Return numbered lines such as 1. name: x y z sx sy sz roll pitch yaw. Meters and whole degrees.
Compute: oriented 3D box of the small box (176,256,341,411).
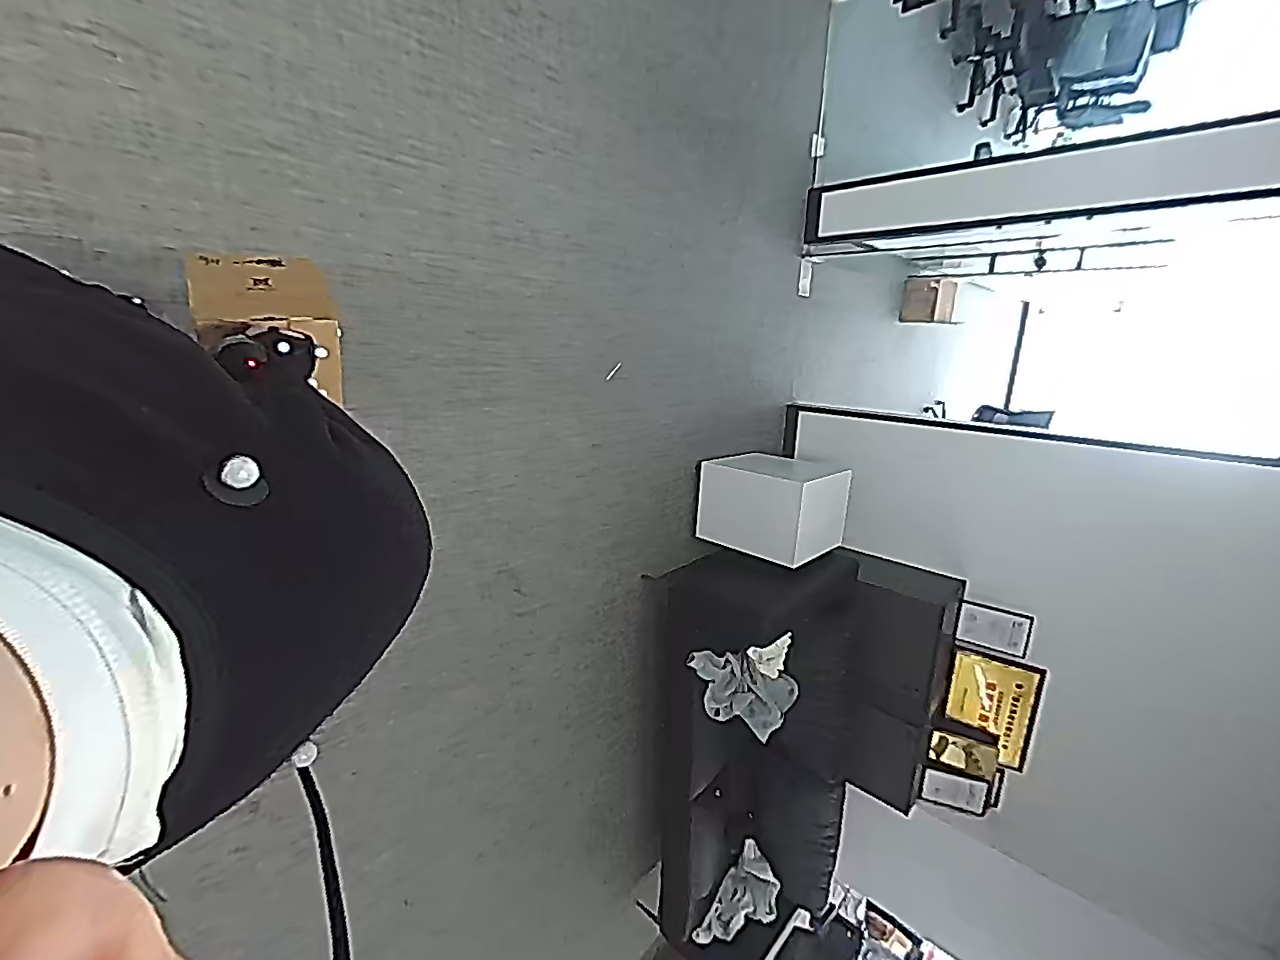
1. small box: -0.572 -0.220 0.825 0.168 0.179 0.176 -16 146 -34
